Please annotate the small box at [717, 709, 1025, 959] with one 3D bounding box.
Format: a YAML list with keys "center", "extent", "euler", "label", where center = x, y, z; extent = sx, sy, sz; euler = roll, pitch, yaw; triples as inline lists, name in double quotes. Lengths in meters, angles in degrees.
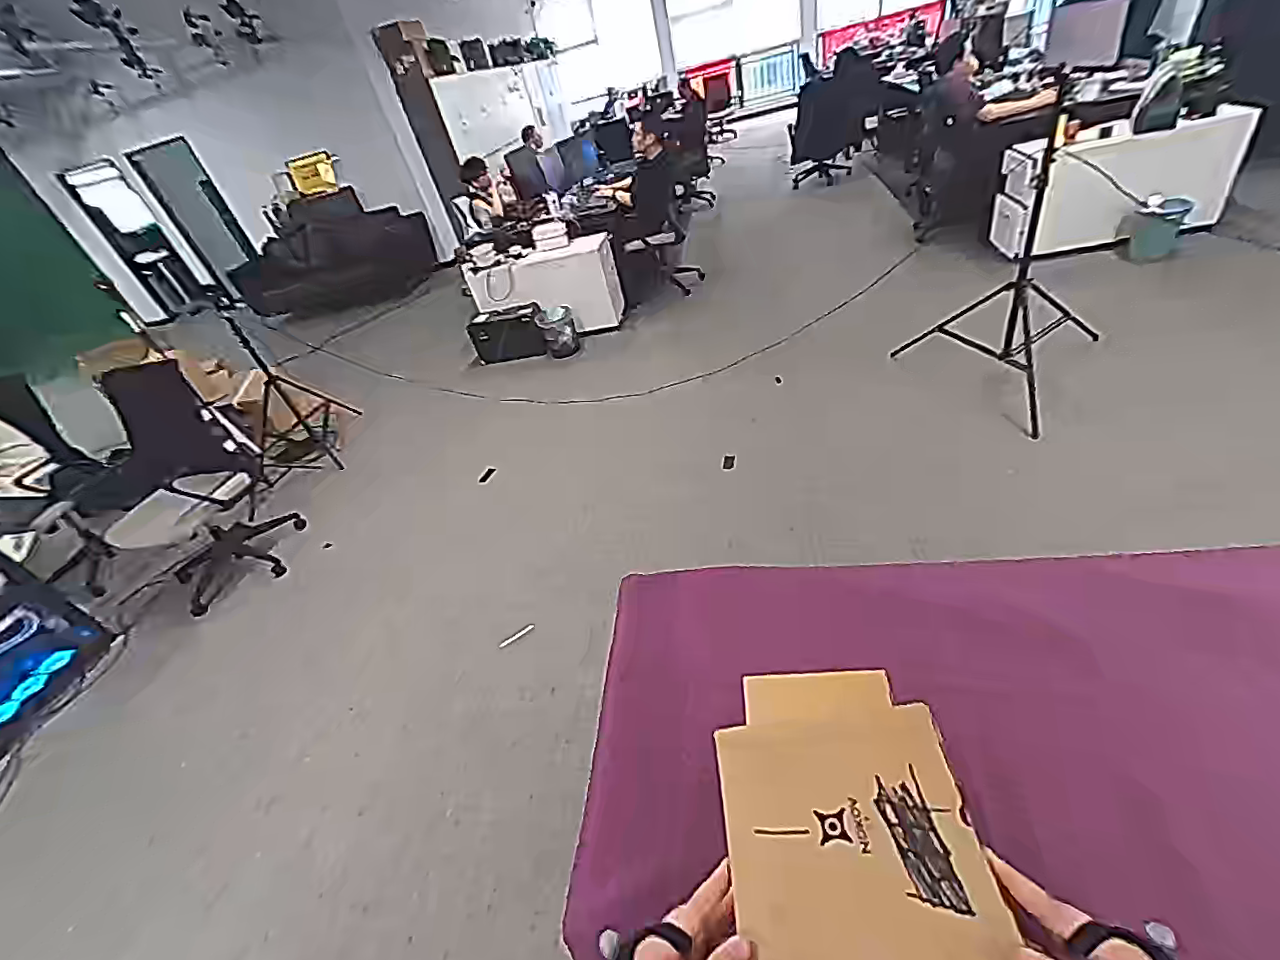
- center: [0.169, 0.313, 0.446]
  extent: [0.179, 0.176, 0.168]
  euler: [-11, 40, 10]
  label: "small box"

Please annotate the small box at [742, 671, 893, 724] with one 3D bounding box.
- center: [0.229, 0.361, 0.675]
  extent: [0.179, 0.176, 0.168]
  euler: [-7, 37, 11]
  label: "small box"
